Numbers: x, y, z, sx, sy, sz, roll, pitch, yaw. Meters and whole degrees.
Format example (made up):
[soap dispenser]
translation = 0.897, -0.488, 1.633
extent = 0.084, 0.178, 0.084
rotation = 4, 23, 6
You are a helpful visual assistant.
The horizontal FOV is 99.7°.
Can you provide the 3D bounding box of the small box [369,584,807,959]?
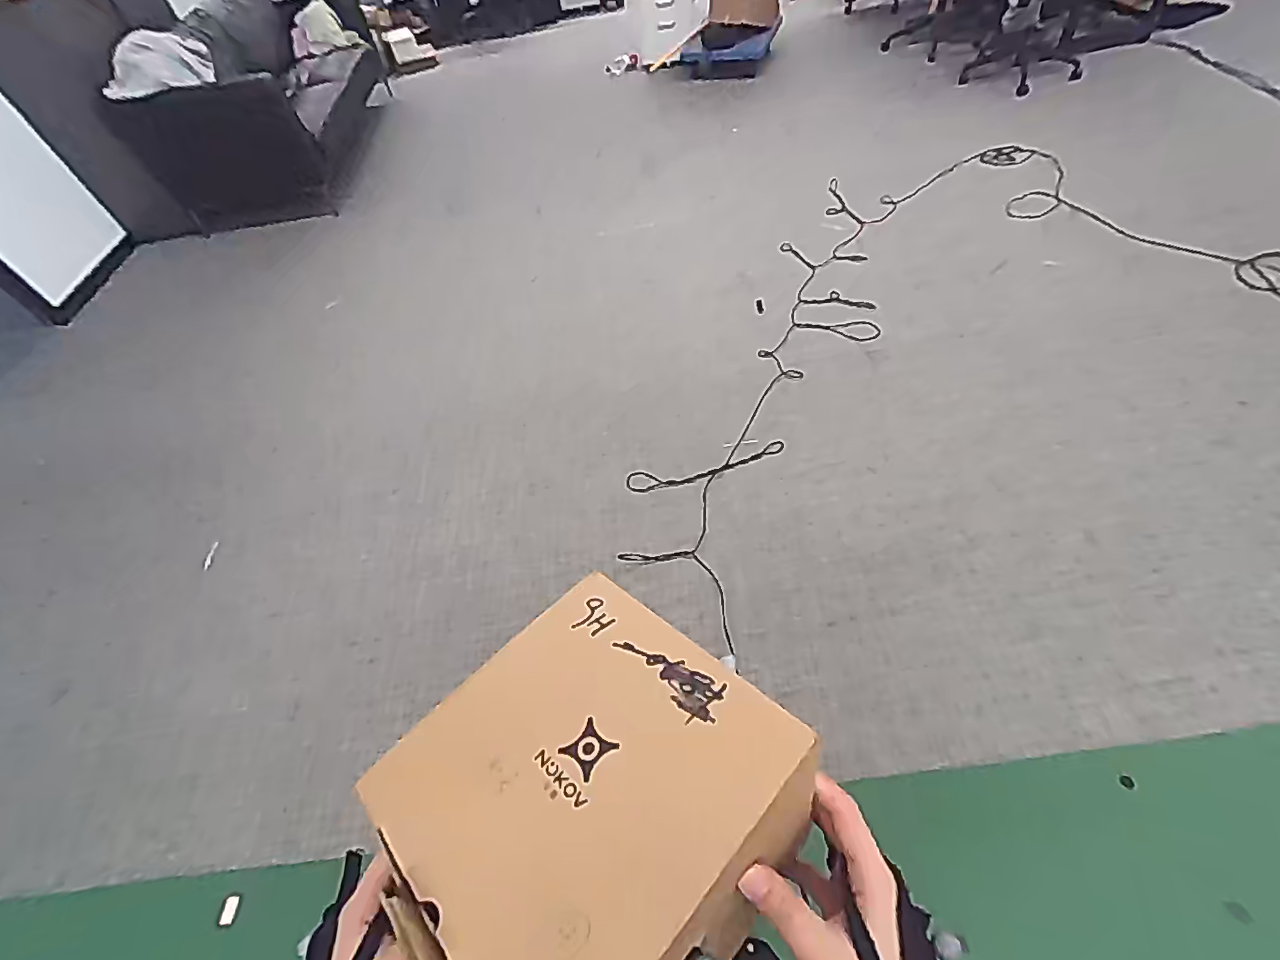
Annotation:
[small box]
translation = -0.015, 0.206, 0.326
extent = 0.168, 0.176, 0.179
rotation = 28, 57, 37
